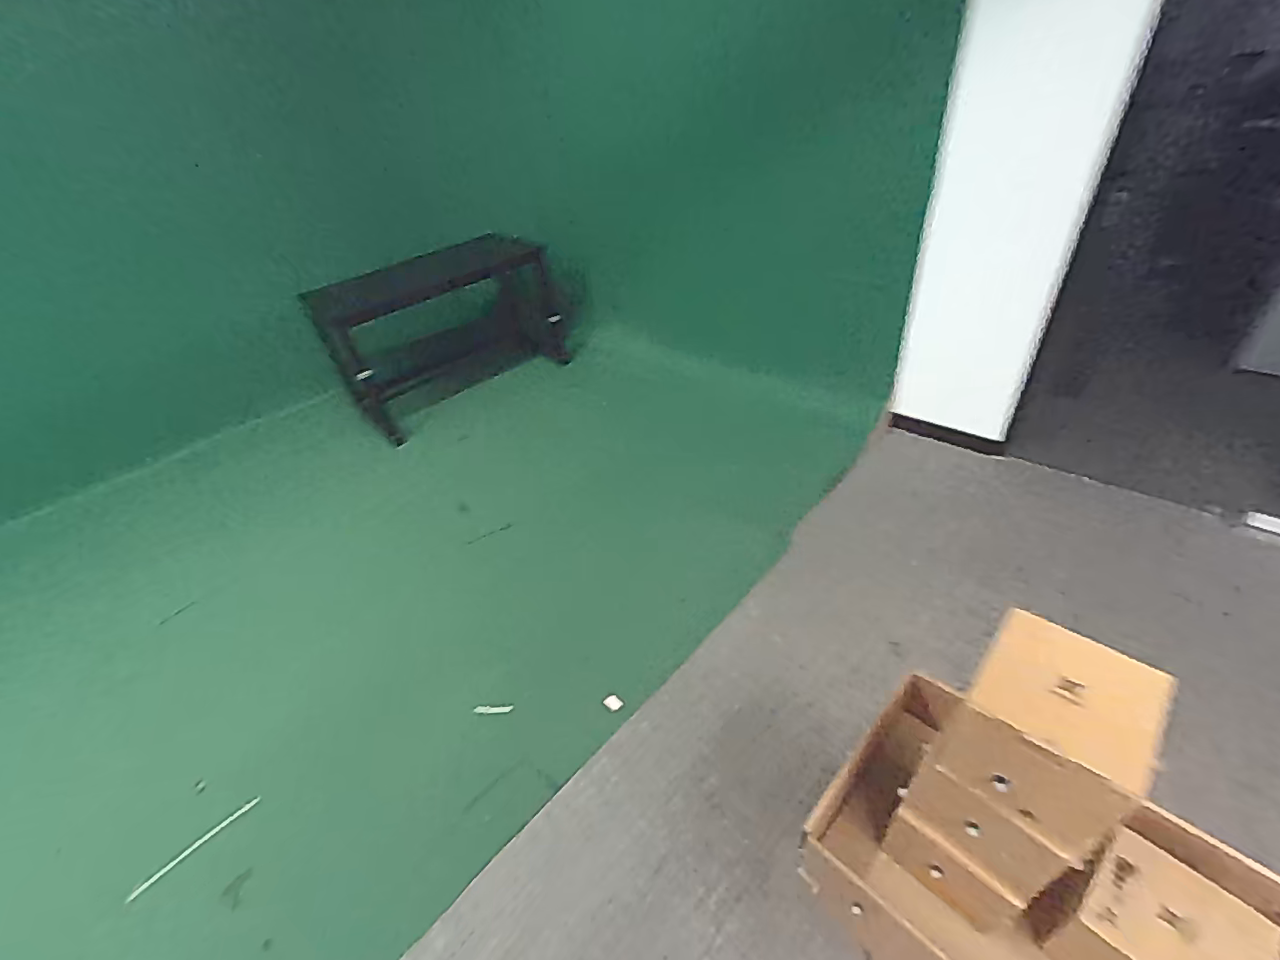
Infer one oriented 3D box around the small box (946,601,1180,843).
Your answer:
[{"bbox_3d":[0.507,0.294,0.668,0.168,0.176,0.179,27,51,36],"label":"small box"}]
